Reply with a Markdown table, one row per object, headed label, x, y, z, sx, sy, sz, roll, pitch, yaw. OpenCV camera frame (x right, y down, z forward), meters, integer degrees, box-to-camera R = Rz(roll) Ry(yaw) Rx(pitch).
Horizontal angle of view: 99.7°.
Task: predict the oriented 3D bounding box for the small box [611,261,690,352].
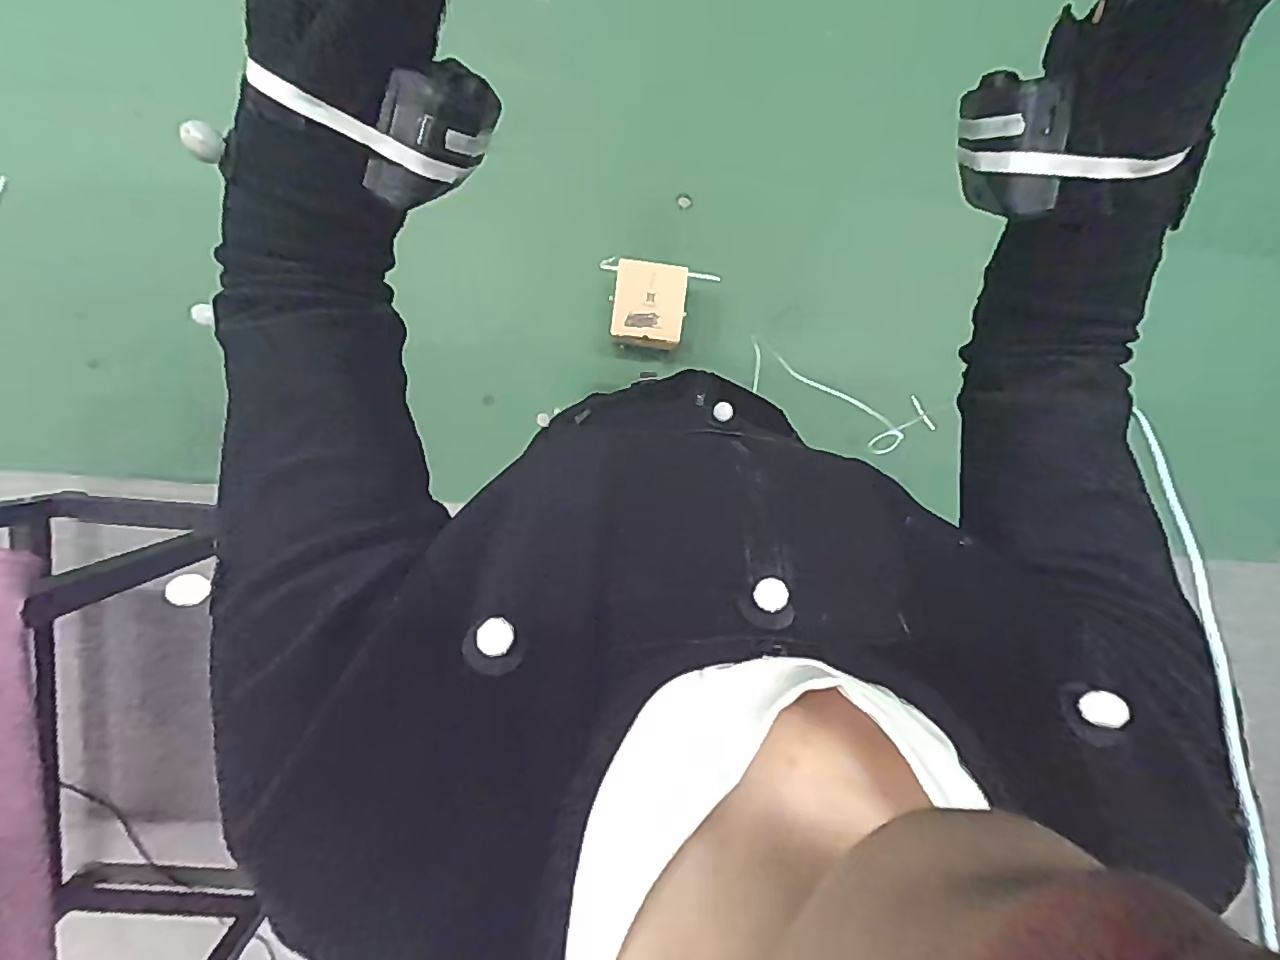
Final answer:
| label | x | y | z | sx | sy | sz | roll | pitch | yaw |
| --- | --- | --- | --- | --- | --- | --- | --- | --- | --- |
| small box | 0.022 | -0.421 | 1.342 | 0.168 | 0.176 | 0.179 | 7 | 97 | -4 |
